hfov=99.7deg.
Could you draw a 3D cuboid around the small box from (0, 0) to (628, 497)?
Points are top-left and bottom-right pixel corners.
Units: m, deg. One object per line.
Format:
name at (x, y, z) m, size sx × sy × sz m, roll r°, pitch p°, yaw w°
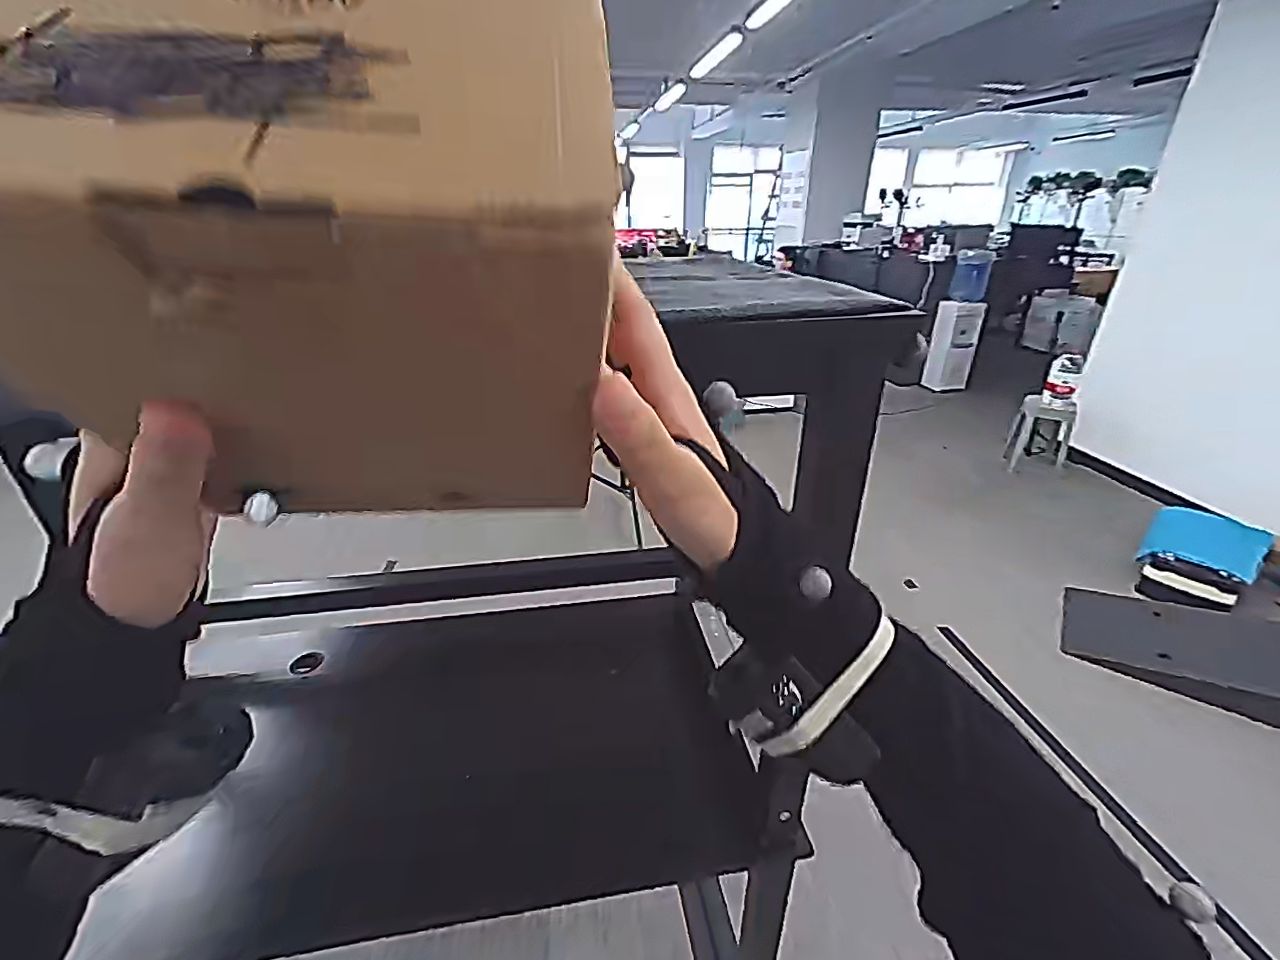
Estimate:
small box at (-0.098, -0.099, 0.215) m, size 0.168 × 0.176 × 0.179 m, roll -2°, pitch 64°, yaw -9°
